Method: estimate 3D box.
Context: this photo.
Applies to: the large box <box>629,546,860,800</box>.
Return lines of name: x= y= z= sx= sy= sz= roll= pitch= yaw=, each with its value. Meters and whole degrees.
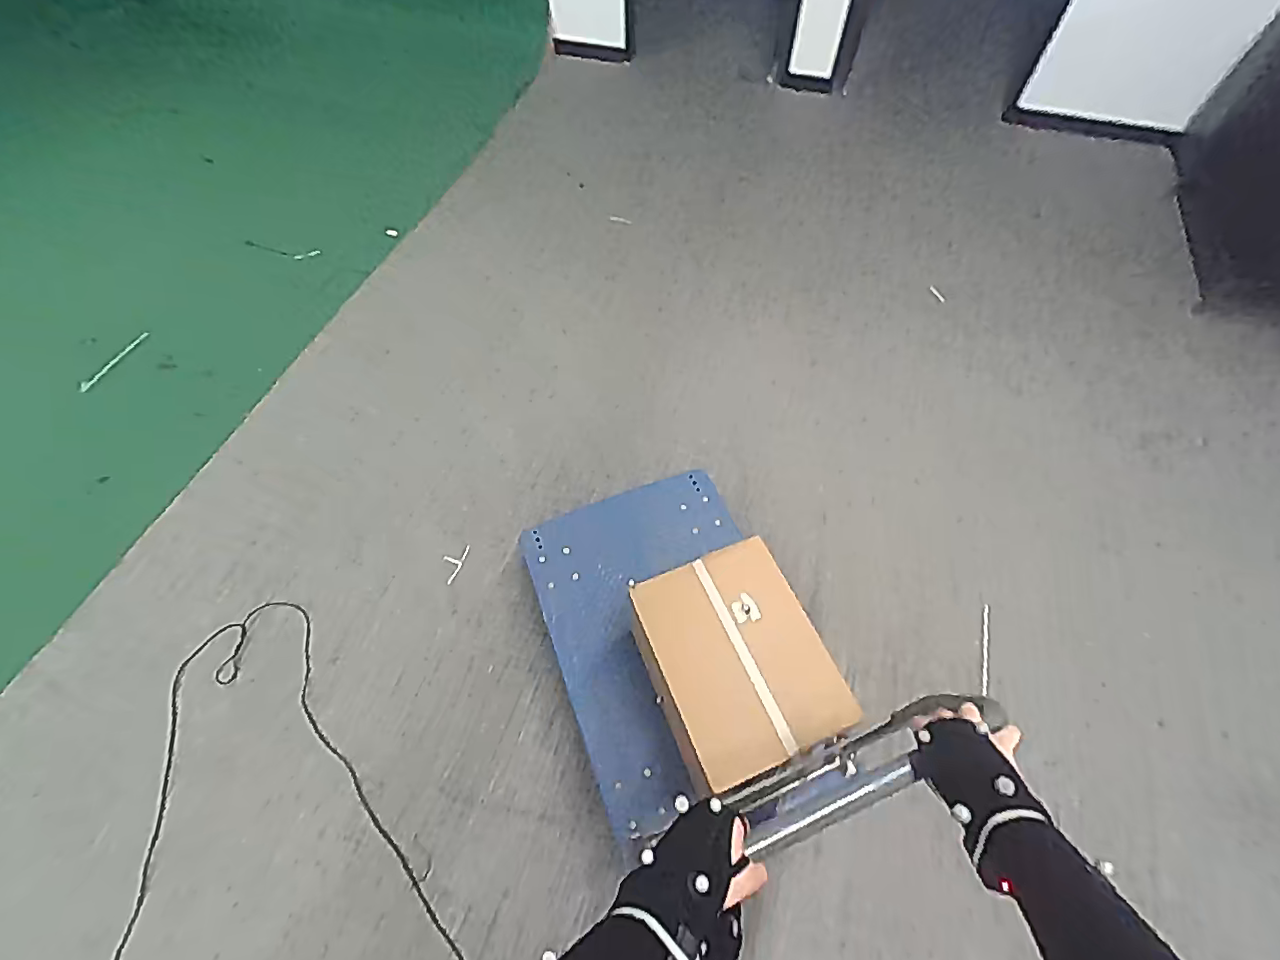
large box: x=0.198 y=0.428 z=1.195 sx=0.320 sy=0.320 sz=0.408 roll=-20 pitch=60 yaw=-12
